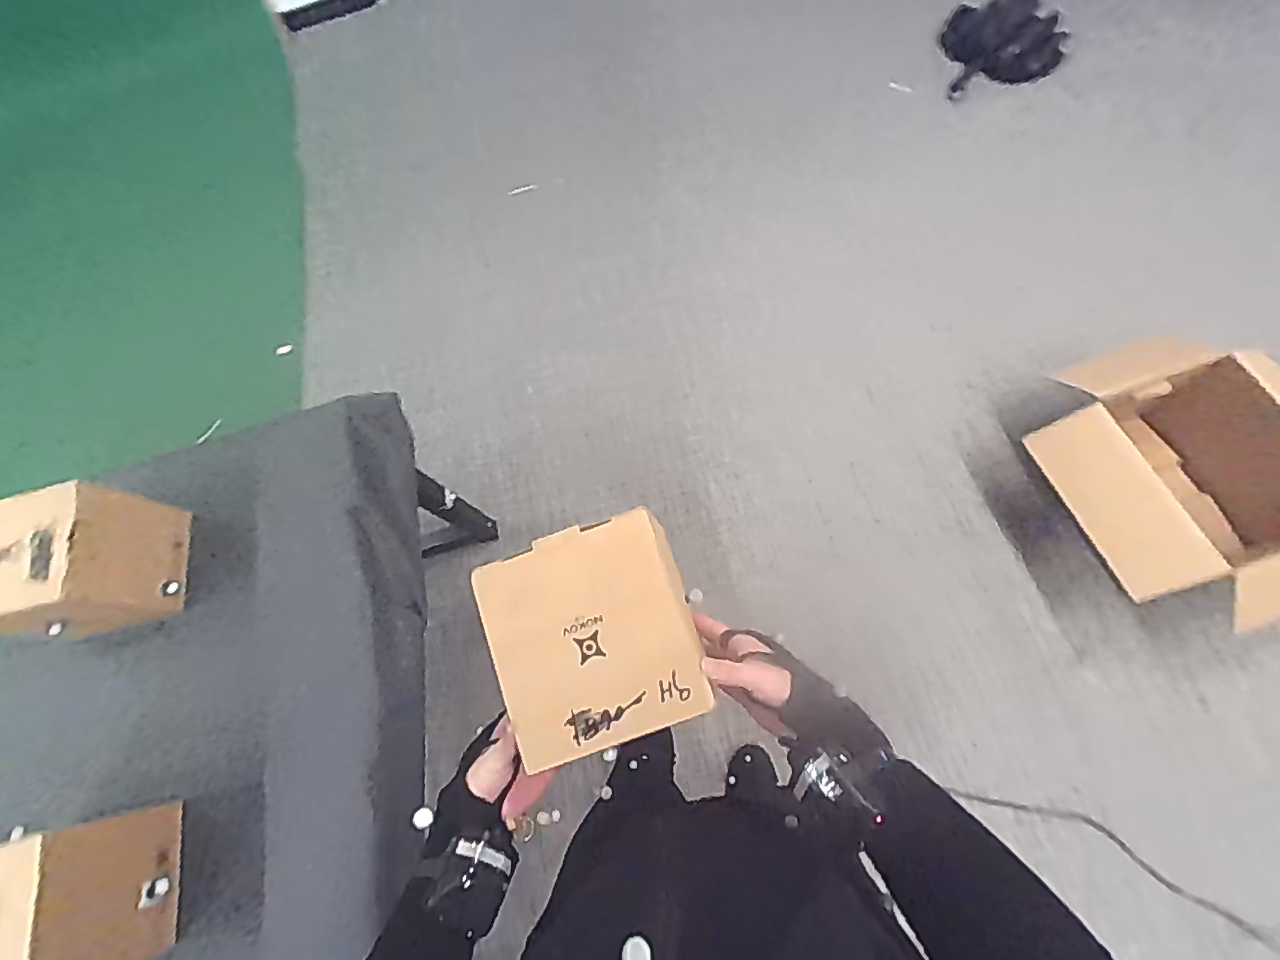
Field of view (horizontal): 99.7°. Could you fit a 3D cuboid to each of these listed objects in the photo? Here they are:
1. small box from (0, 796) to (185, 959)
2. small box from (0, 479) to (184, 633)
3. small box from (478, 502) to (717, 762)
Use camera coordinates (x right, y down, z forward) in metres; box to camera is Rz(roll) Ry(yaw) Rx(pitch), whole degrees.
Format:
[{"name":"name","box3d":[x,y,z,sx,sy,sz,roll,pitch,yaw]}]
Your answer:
[{"name":"small box","box3d":[-0.687,0.494,0.628,0.179,0.176,0.168,-17,71,0]},{"name":"small box","box3d":[-0.805,0.116,0.771,0.179,0.176,0.168,-14,70,3]},{"name":"small box","box3d":[-0.032,0.140,0.528,0.168,0.176,0.179,-20,77,4]}]
